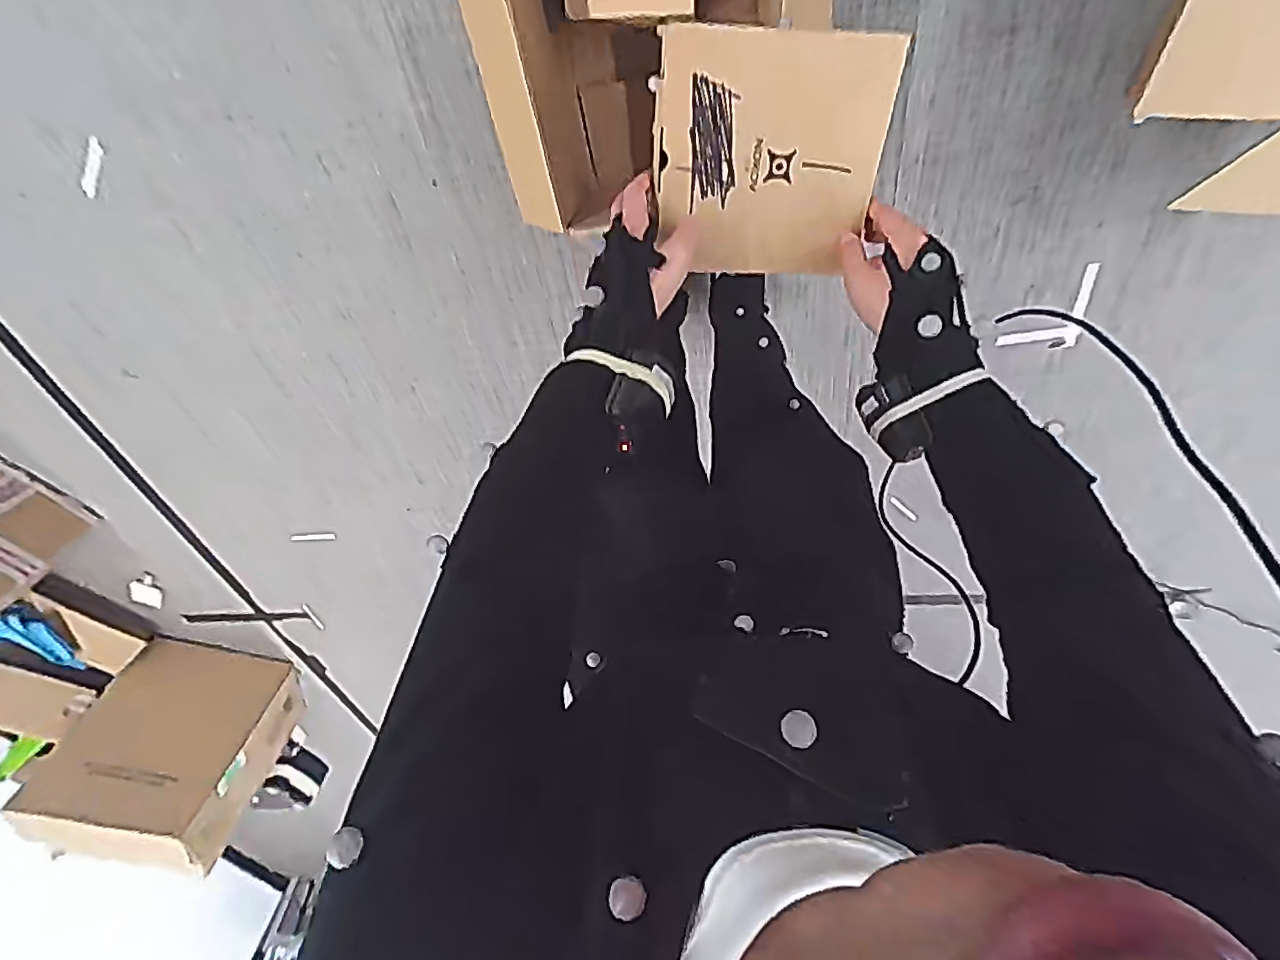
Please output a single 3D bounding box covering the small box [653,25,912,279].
[{"bbox_3d":[0.106,-0.293,0.492,0.179,0.176,0.168,3,125,0],"label":"small box"}]
